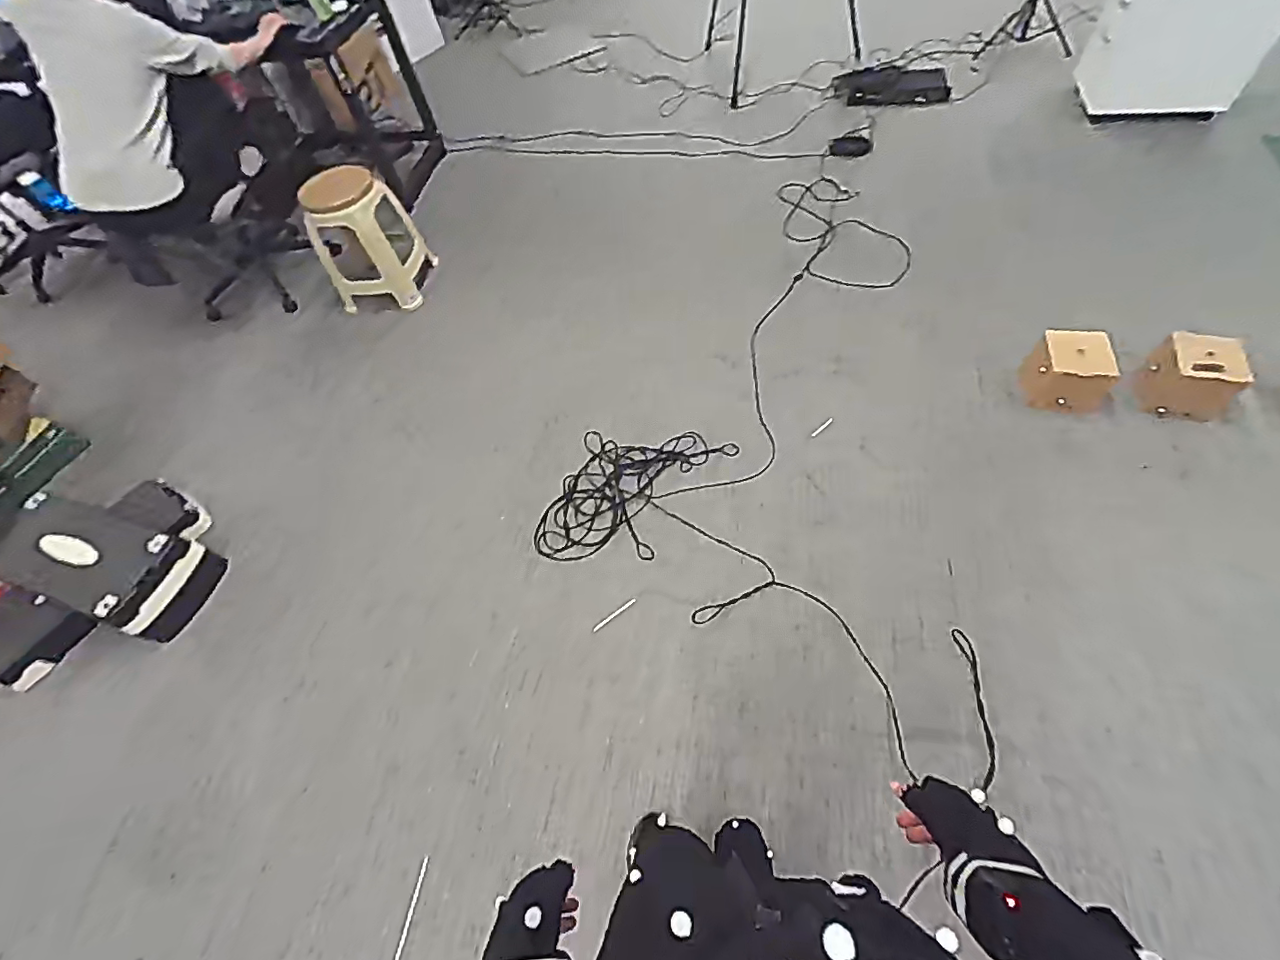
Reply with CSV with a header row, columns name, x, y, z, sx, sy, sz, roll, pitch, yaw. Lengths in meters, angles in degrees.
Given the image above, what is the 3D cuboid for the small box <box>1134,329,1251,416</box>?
name,x,y,z,sx,sy,sz,roll,pitch,yaw
small box,1.590,-0.310,1.570,0.168,0.176,0.179,12,60,15

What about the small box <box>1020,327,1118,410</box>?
name,x,y,z,sx,sy,sz,roll,pitch,yaw
small box,1.283,-0.336,1.635,0.168,0.176,0.179,6,60,12
